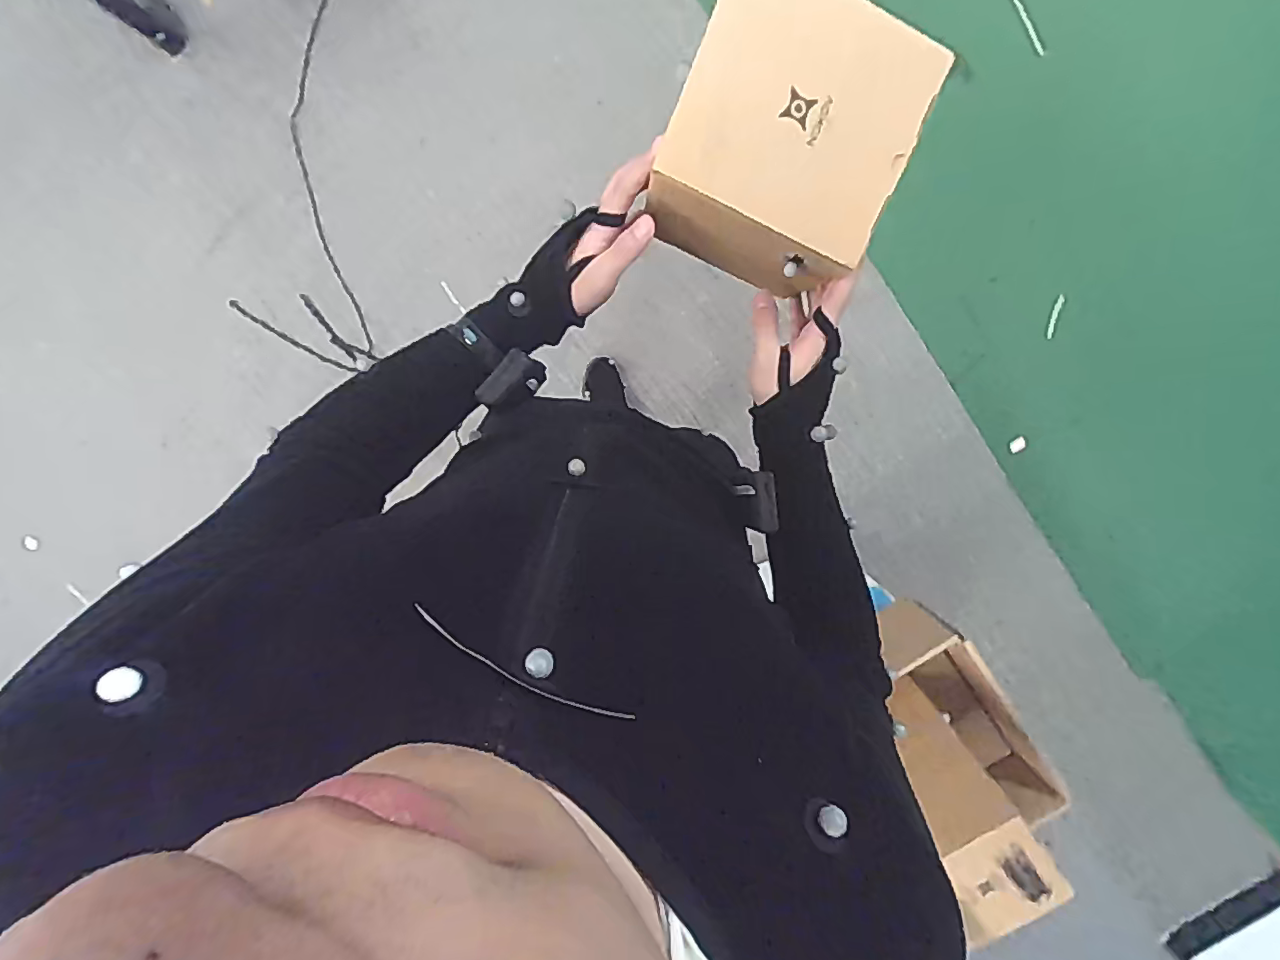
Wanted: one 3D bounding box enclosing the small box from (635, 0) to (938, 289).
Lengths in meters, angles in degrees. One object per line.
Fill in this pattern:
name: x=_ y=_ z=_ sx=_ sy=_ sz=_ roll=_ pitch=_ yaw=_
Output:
small box: x=0.104 y=-0.284 z=0.474 sx=0.179 sy=0.176 sz=0.168 roll=21 pitch=99 yaw=-8
